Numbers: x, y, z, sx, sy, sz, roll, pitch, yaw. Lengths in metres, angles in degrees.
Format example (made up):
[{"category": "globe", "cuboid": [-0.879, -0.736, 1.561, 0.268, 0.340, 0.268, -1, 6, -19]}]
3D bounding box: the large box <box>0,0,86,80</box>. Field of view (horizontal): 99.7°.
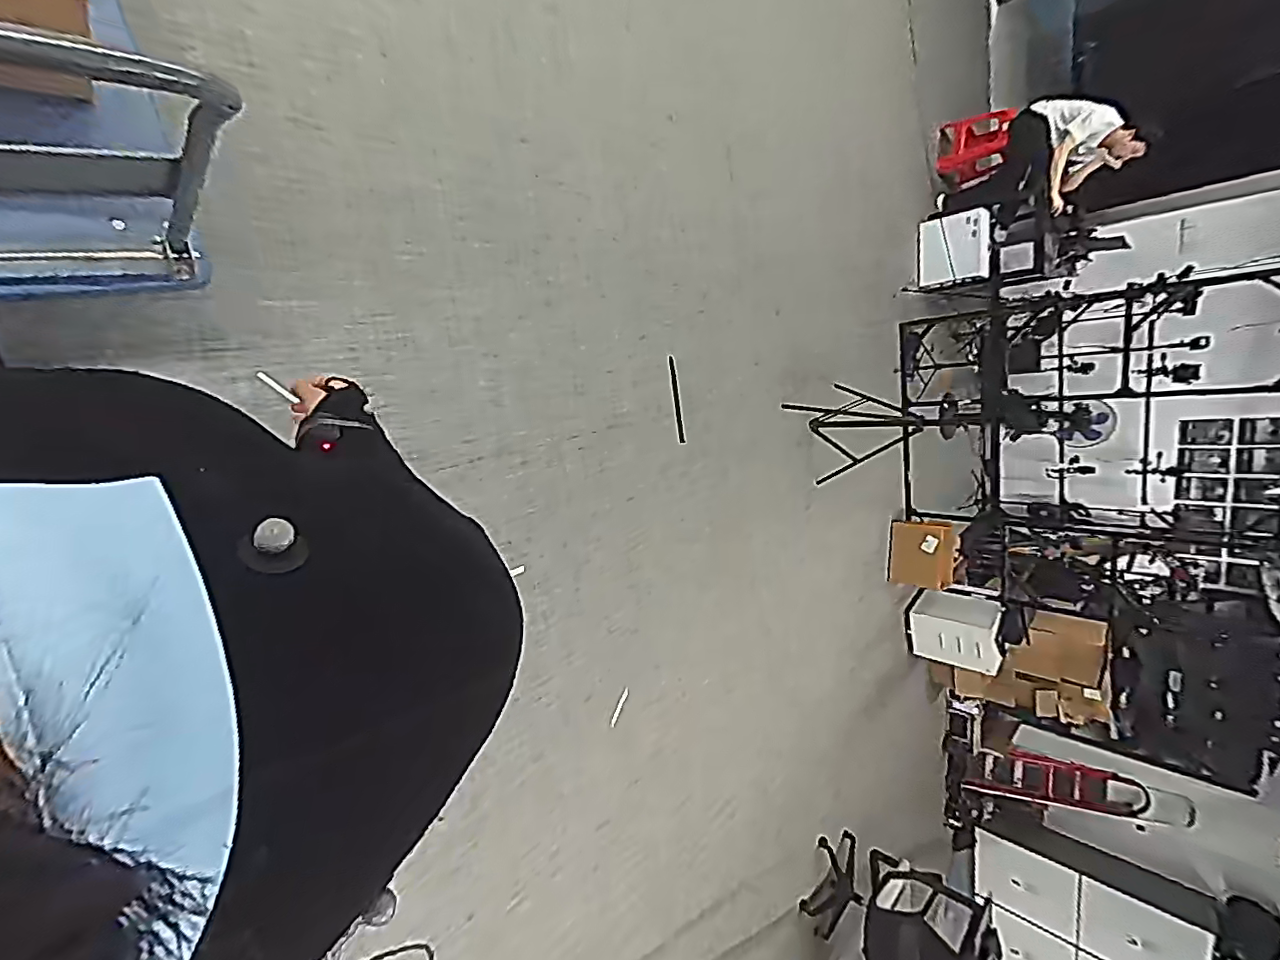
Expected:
[{"category": "large box", "cuboid": [-0.997, -0.748, 0.644, 0.408, 0.320, 0.320, -21, 107, -41]}]
